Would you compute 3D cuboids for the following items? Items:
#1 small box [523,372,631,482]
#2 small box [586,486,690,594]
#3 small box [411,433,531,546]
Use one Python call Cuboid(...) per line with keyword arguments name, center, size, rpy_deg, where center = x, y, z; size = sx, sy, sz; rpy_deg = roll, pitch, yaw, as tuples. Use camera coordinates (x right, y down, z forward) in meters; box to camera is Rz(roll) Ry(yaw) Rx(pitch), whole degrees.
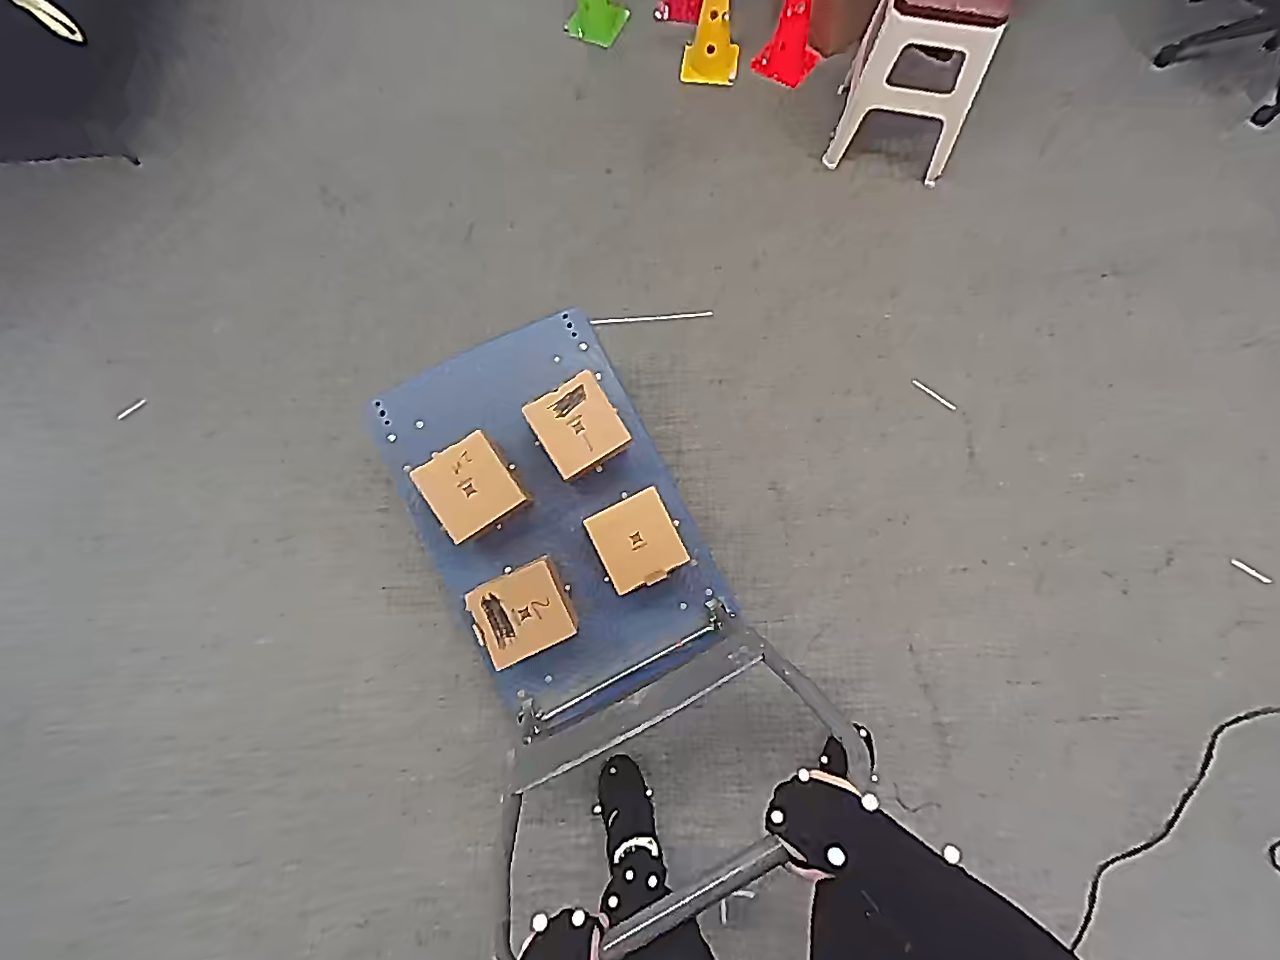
Cuboid(name="small box", center=(-0.138, -0.108, 1.196), size=(0.168, 0.176, 0.179), rpy_deg=(-32, 90, -6))
Cuboid(name="small box", center=(-0.013, 0.130, 1.193), size=(0.168, 0.176, 0.179), rpy_deg=(-26, 90, -7))
Cuboid(name="small box", center=(-0.353, 0.023, 1.167), size=(0.168, 0.176, 0.179), rpy_deg=(-34, 90, -7))
